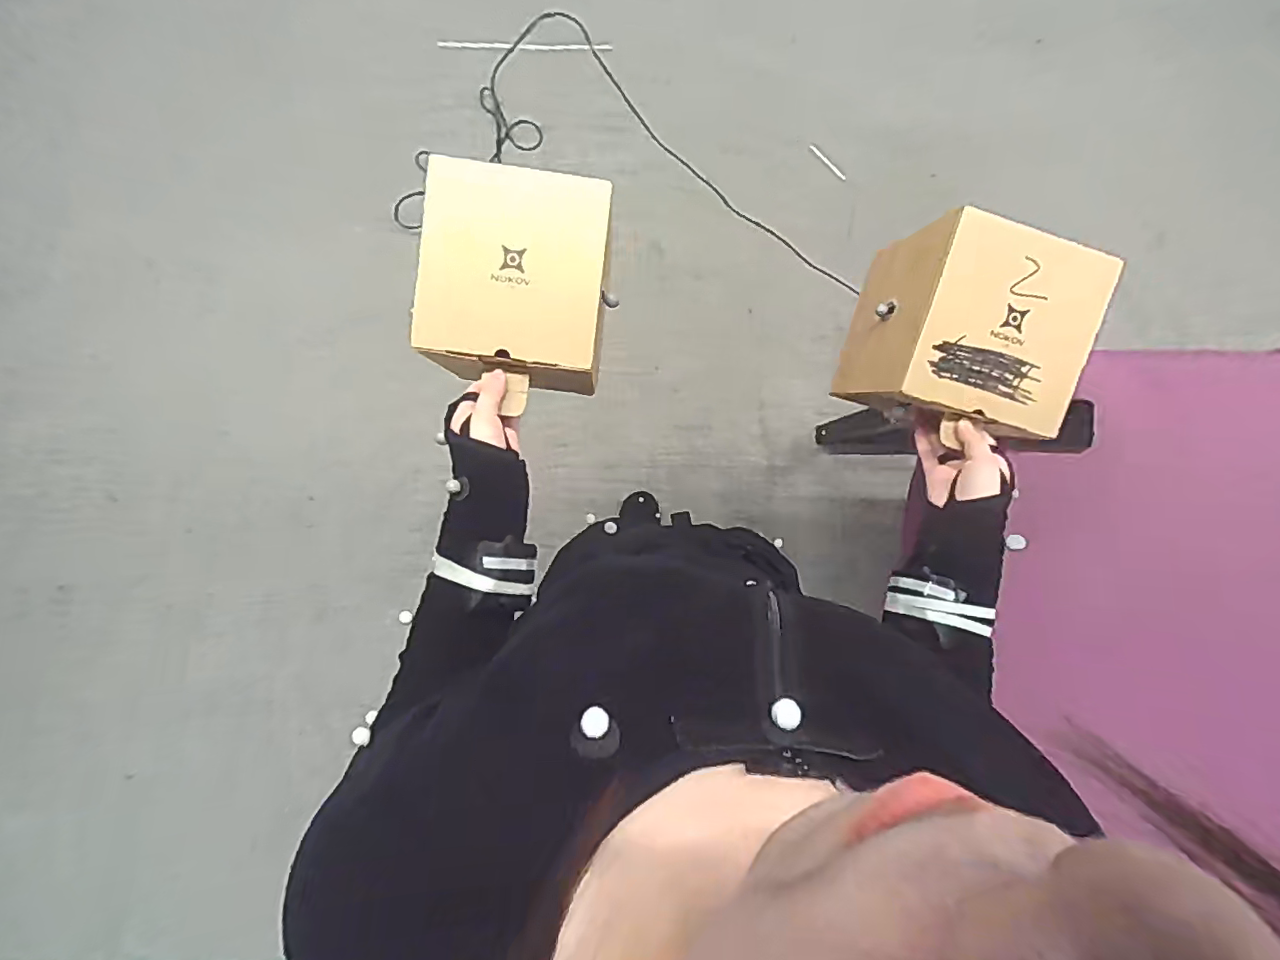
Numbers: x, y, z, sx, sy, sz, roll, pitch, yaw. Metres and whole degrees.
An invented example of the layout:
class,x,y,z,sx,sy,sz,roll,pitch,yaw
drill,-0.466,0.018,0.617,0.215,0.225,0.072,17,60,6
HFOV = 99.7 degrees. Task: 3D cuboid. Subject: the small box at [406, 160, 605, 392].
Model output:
class,x,y,z,sx,sy,sz,roll,pitch,yaw
small box,-0.130,-0.198,0.576,0.168,0.176,0.179,6,93,-5
